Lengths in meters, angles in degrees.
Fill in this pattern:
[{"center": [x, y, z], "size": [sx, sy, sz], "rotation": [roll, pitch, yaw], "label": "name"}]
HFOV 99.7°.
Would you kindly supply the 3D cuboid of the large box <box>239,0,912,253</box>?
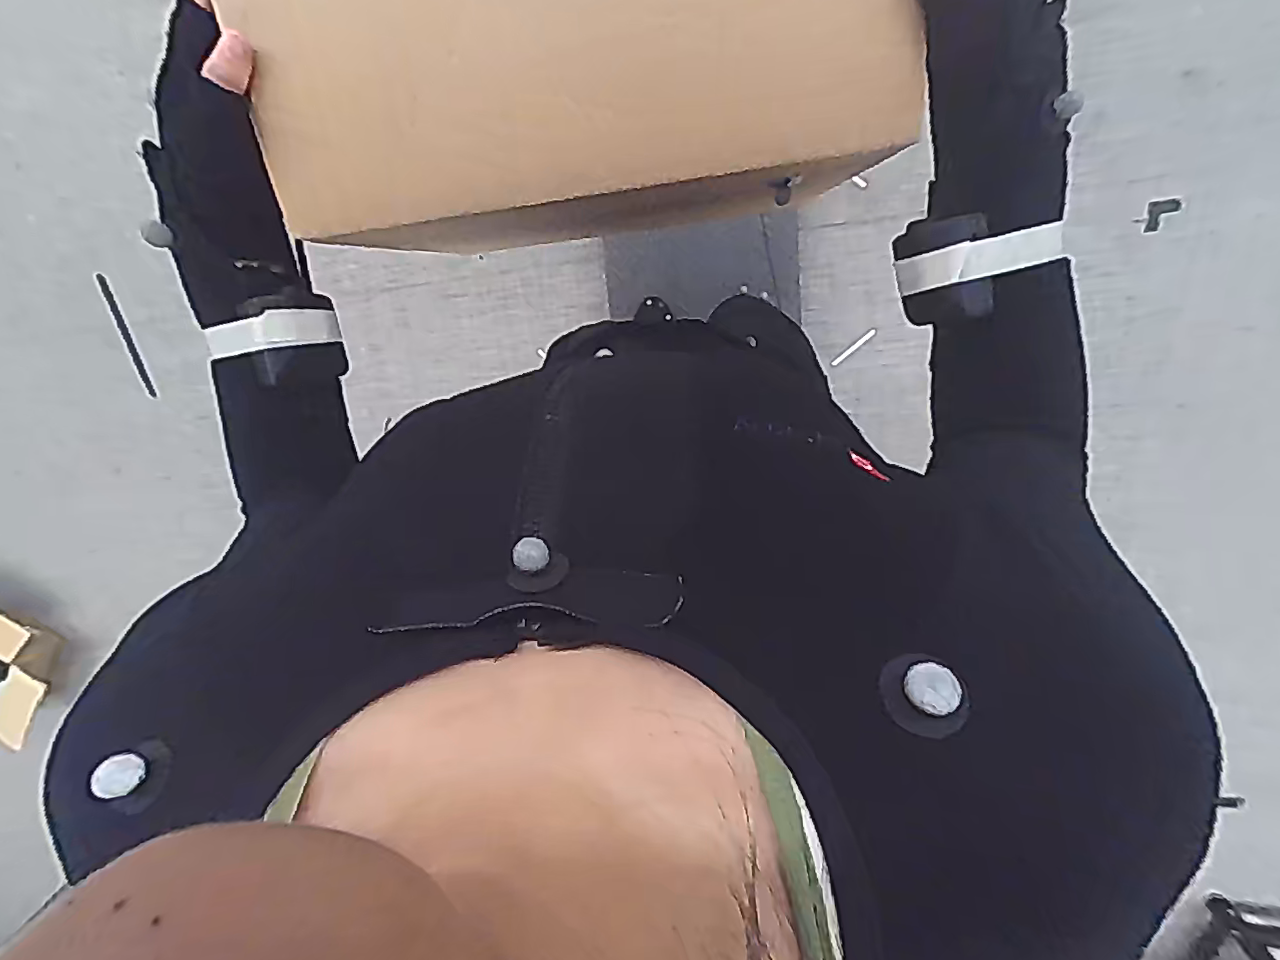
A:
[{"center": [-0.040, -0.382, 0.443], "size": [0.408, 0.320, 0.320], "rotation": [-6, 110, 6], "label": "large box"}]
